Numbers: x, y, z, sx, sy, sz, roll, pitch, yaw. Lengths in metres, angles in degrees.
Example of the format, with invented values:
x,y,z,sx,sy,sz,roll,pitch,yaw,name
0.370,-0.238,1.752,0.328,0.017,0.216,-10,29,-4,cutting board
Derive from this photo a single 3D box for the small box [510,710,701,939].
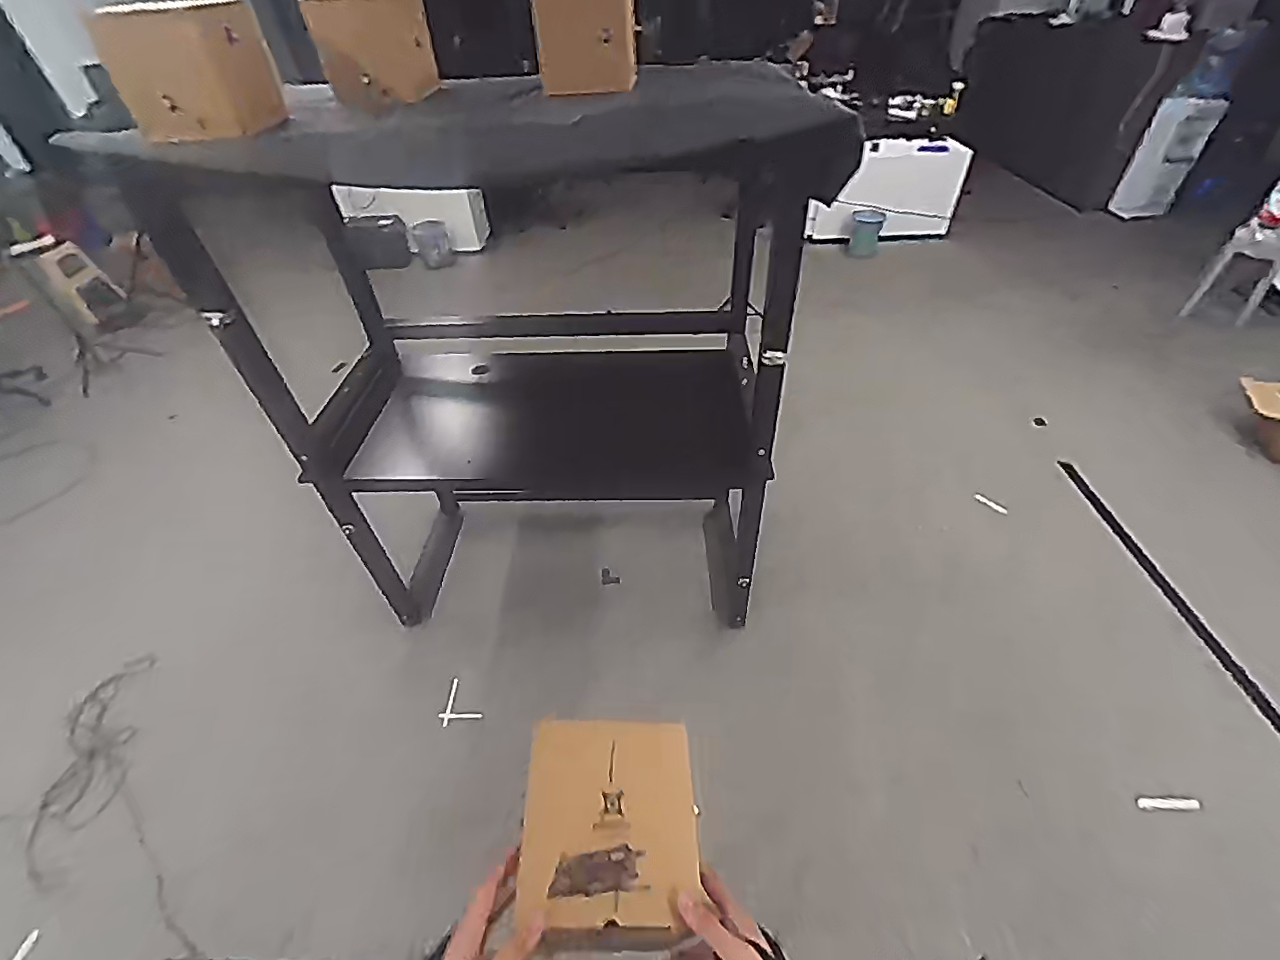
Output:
x,y,z,sx,sy,sz,roll,pitch,yaw,name
-0.039,0.364,0.569,0.168,0.176,0.179,5,44,-7,small box

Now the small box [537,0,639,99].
x,y,z,sx,sy,sz,roll,pitch,yaw,name
-0.094,-0.876,1.076,0.179,0.176,0.168,1,43,4,small box

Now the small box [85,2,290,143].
x,y,z,sx,sy,sz,roll,pitch,yaw,name
-0.722,-0.674,0.894,0.168,0.176,0.179,-3,44,0,small box
